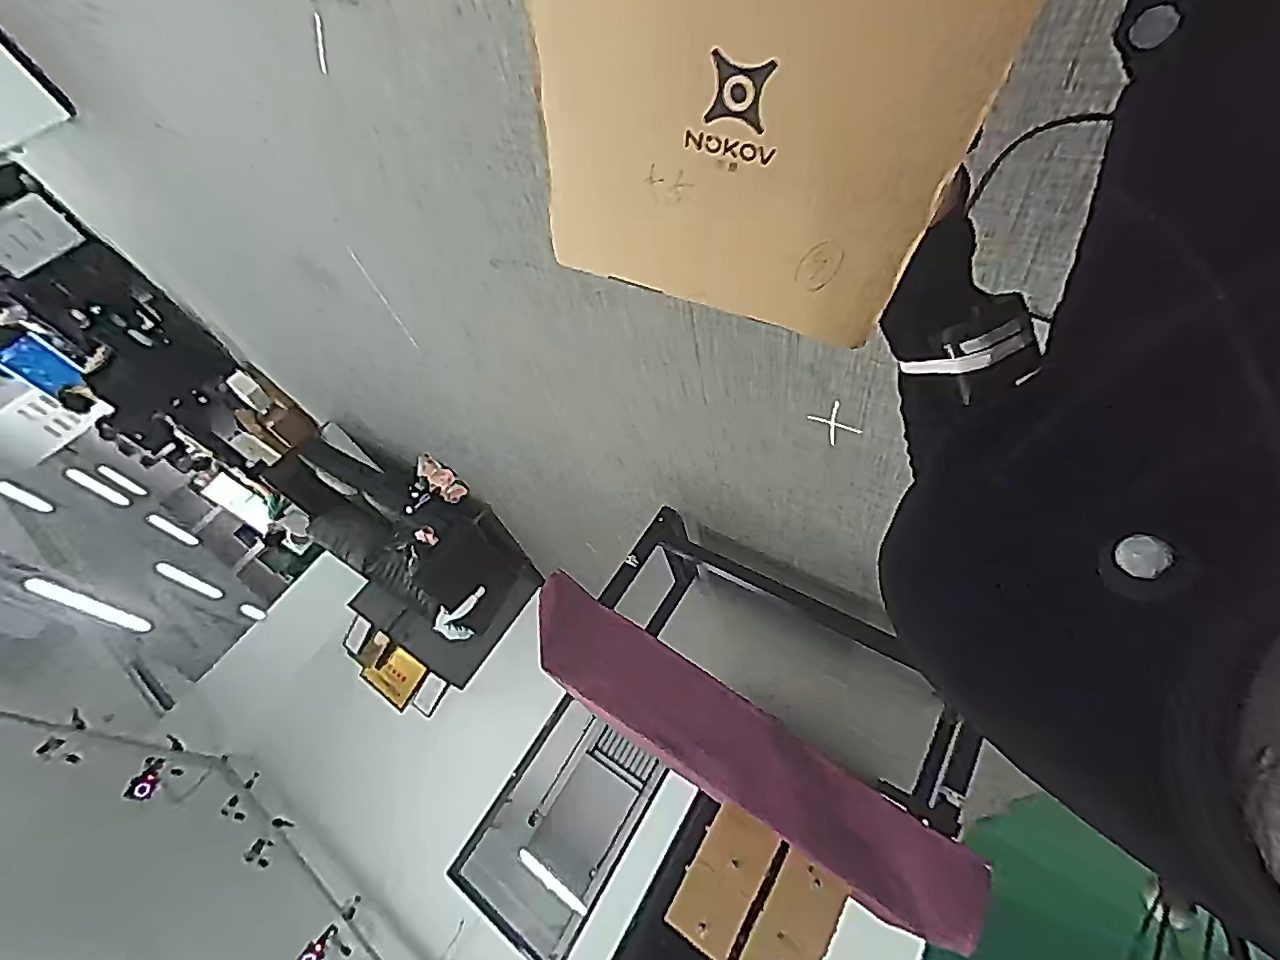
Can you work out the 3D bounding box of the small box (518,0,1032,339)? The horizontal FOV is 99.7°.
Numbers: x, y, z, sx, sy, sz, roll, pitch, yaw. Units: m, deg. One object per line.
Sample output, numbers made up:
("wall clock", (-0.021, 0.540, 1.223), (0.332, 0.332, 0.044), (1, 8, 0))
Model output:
("small box", (0.060, -0.201, 0.239), (0.168, 0.176, 0.179), (19, 148, 8))
